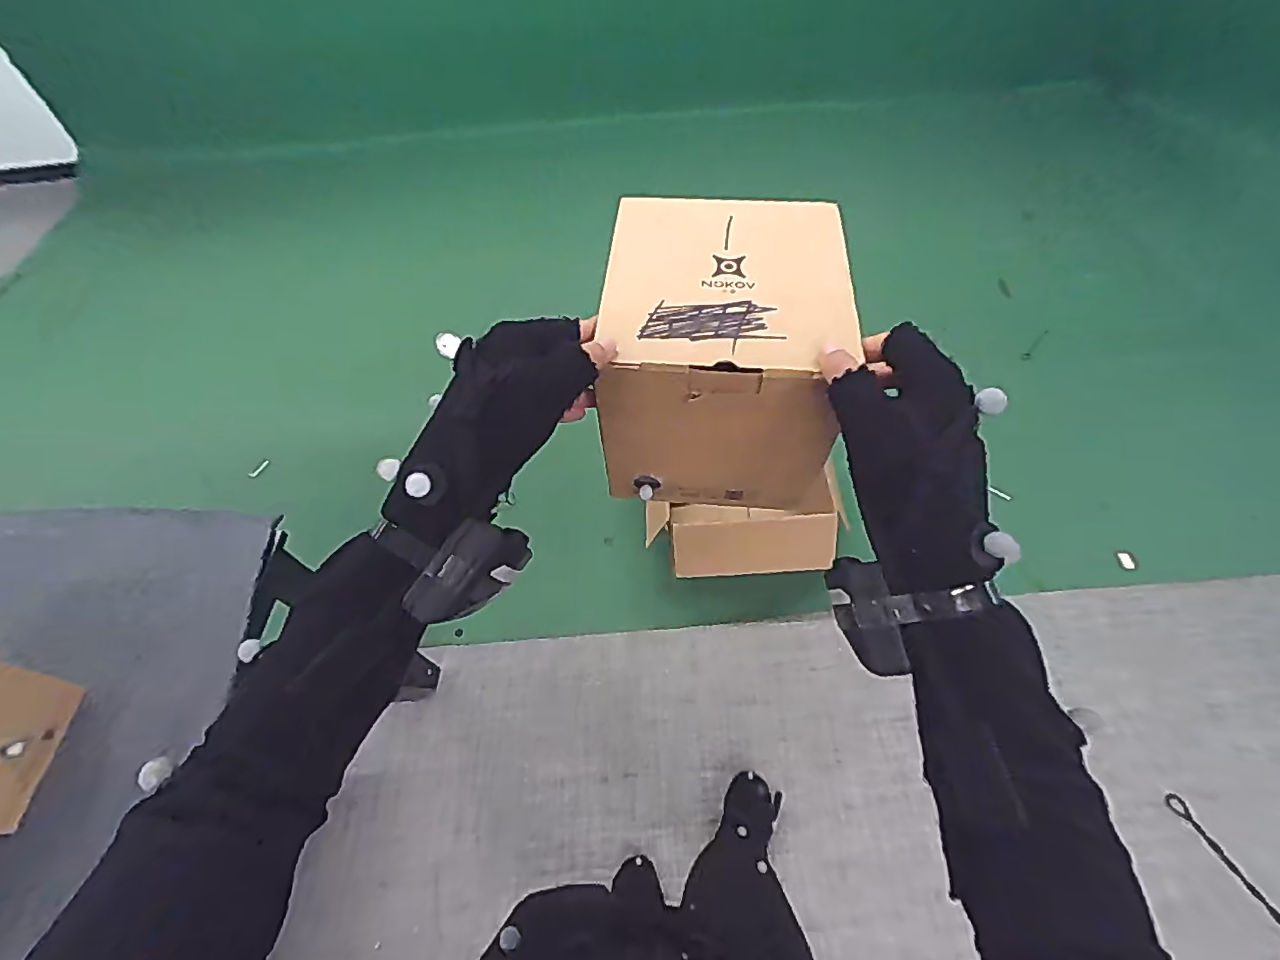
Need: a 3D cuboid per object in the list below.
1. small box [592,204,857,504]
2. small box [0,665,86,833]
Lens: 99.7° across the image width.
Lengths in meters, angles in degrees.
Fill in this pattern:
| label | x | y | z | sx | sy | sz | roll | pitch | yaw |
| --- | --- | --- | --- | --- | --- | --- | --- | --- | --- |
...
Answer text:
| label | x | y | z | sx | sy | sz | roll | pitch | yaw |
| --- | --- | --- | --- | --- | --- | --- | --- | --- | --- |
| small box | 0.062 | -0.096 | 0.441 | 0.168 | 0.176 | 0.179 | 4 | 57 | 4 |
| small box | -0.821 | 0.308 | 0.613 | 0.179 | 0.176 | 0.168 | -4 | 55 | 1 |
